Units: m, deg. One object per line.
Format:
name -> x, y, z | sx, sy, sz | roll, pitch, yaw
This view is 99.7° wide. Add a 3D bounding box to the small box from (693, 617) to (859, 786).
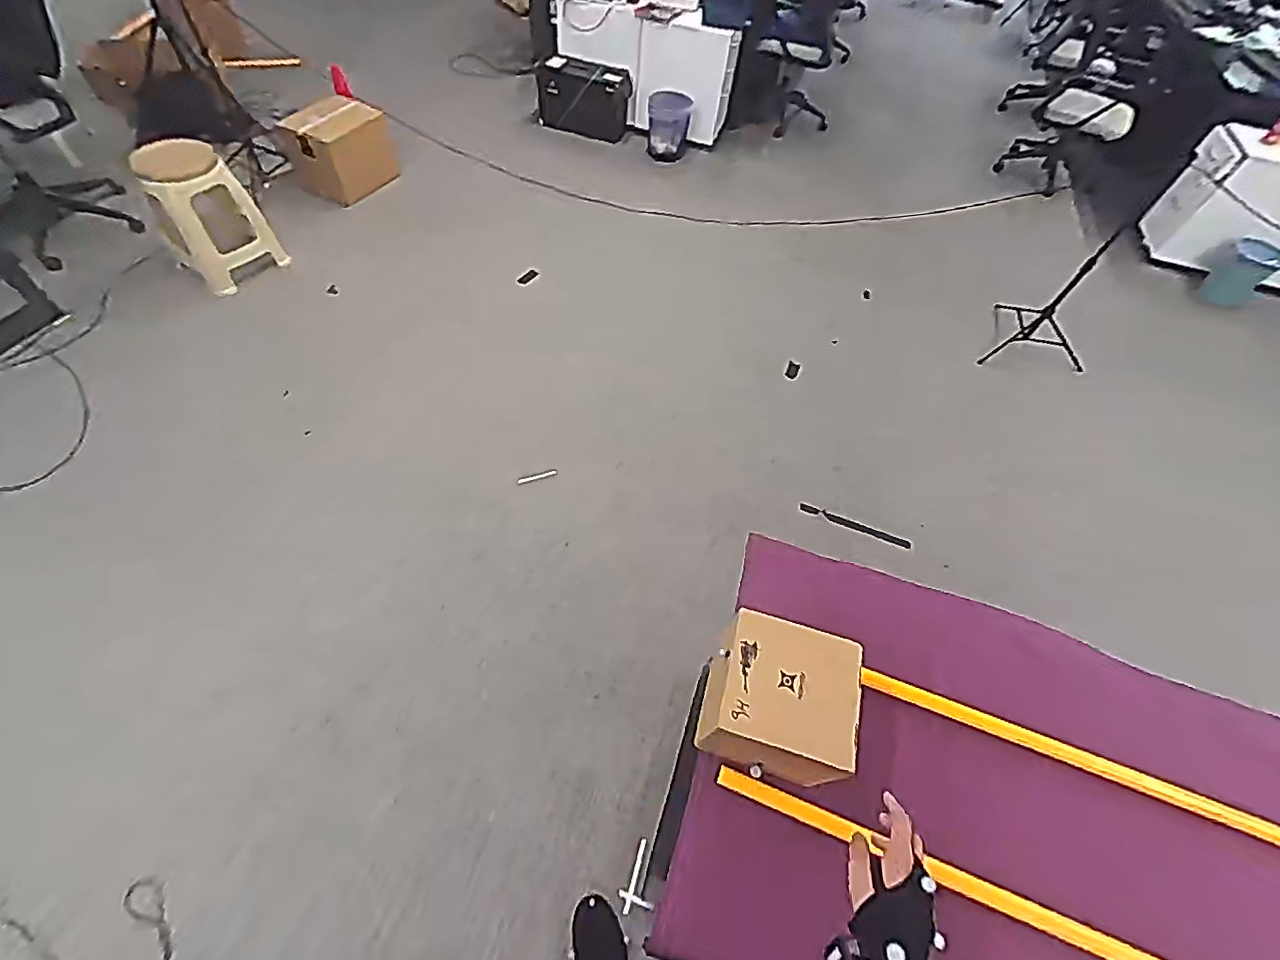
small box -> 0.190, 0.325, 0.780 | 0.179, 0.176, 0.168 | 18, 56, 5
